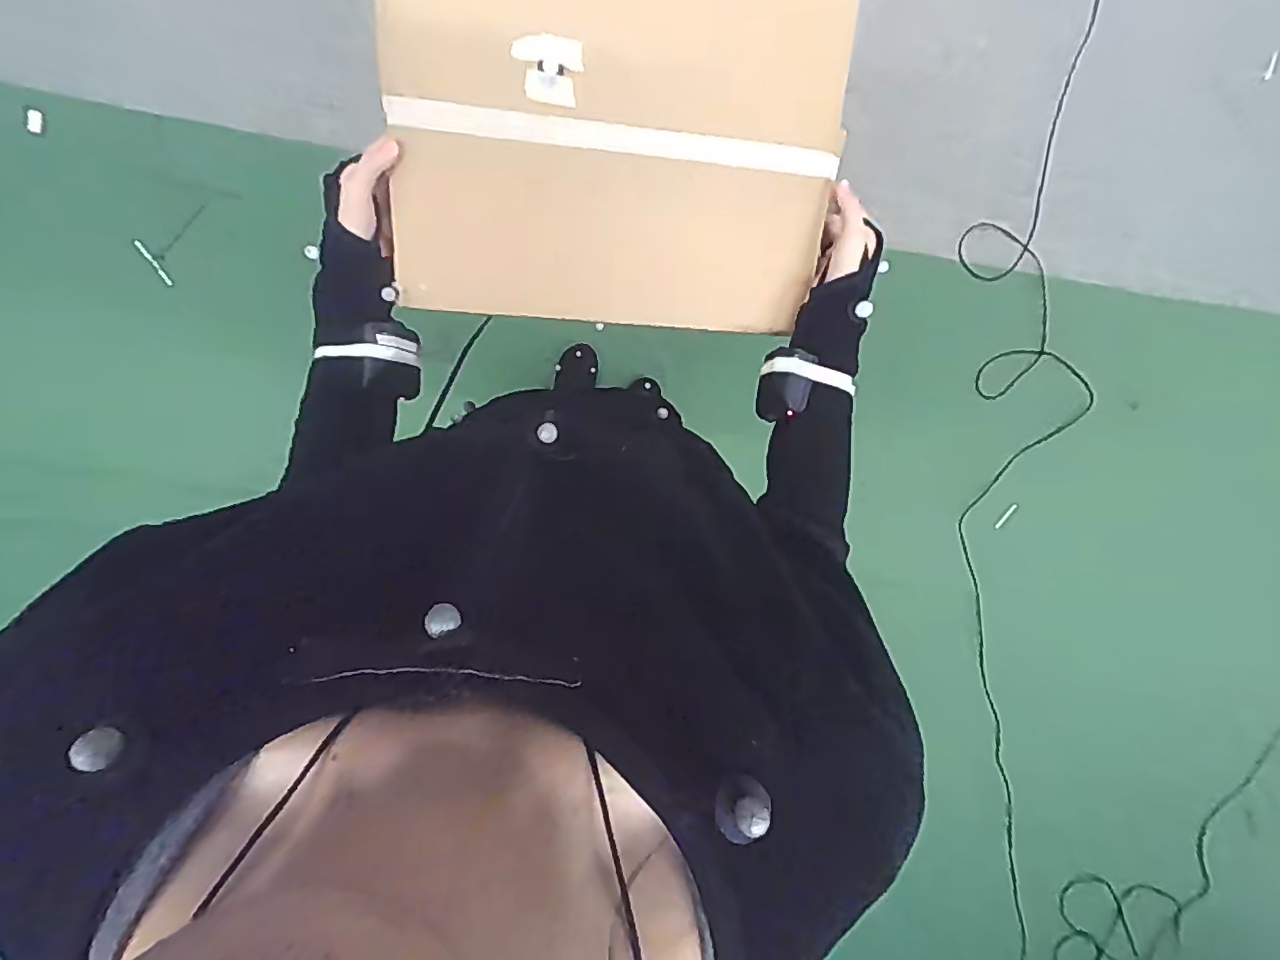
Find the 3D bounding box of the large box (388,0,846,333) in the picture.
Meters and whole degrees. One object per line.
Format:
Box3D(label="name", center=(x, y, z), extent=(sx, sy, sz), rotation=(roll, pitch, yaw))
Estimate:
Box3D(label="large box", center=(-0.038, -0.359, 0.641), extent=(0.408, 0.320, 0.320), rotation=(2, 109, -9))
